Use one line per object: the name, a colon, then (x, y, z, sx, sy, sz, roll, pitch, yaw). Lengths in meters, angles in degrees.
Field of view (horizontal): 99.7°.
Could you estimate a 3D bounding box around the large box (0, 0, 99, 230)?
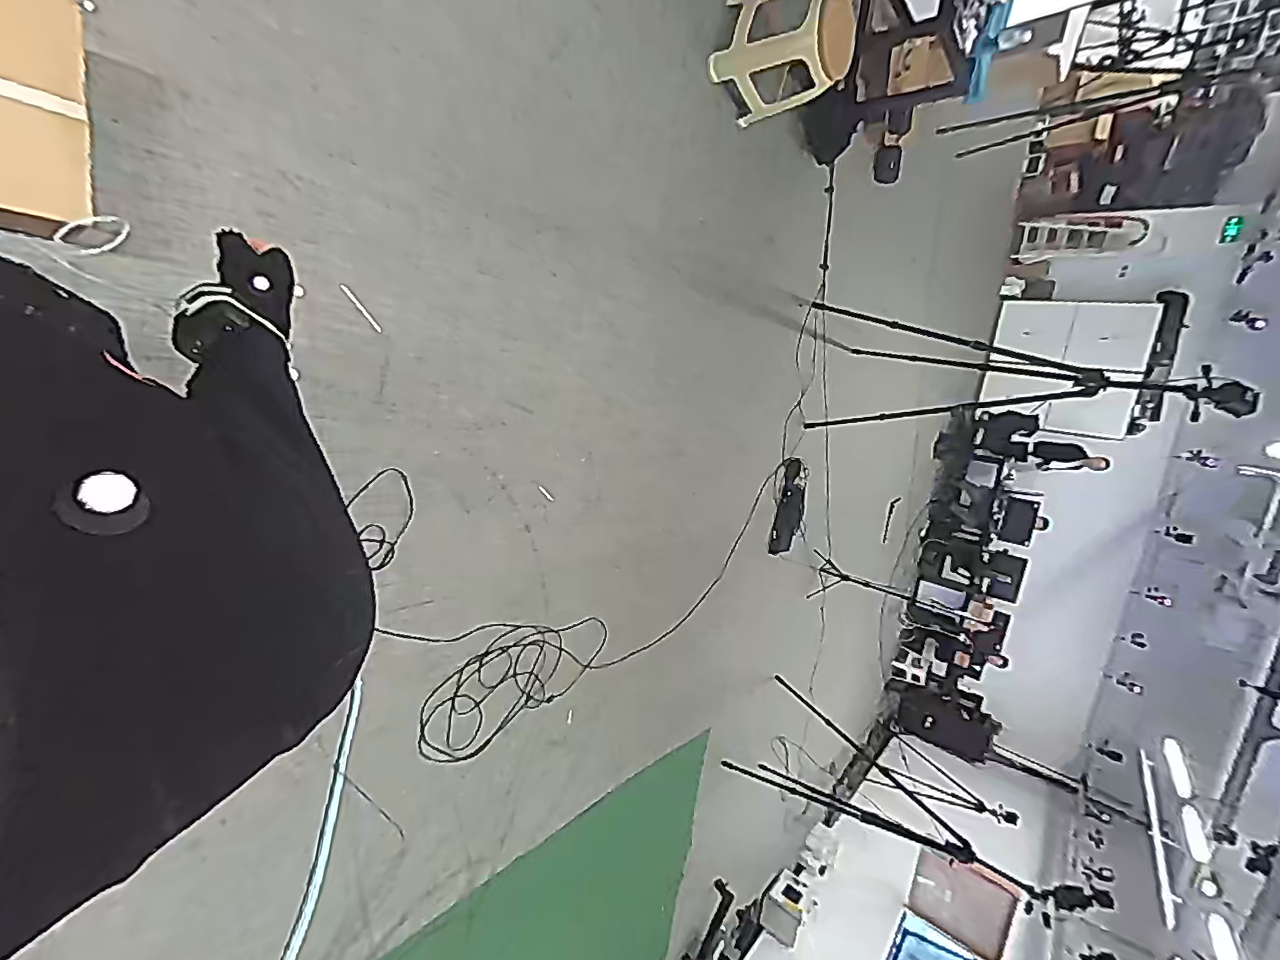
large box: (-1.047, -0.568, 0.736, 0.408, 0.320, 0.320, -5, 106, -50)
